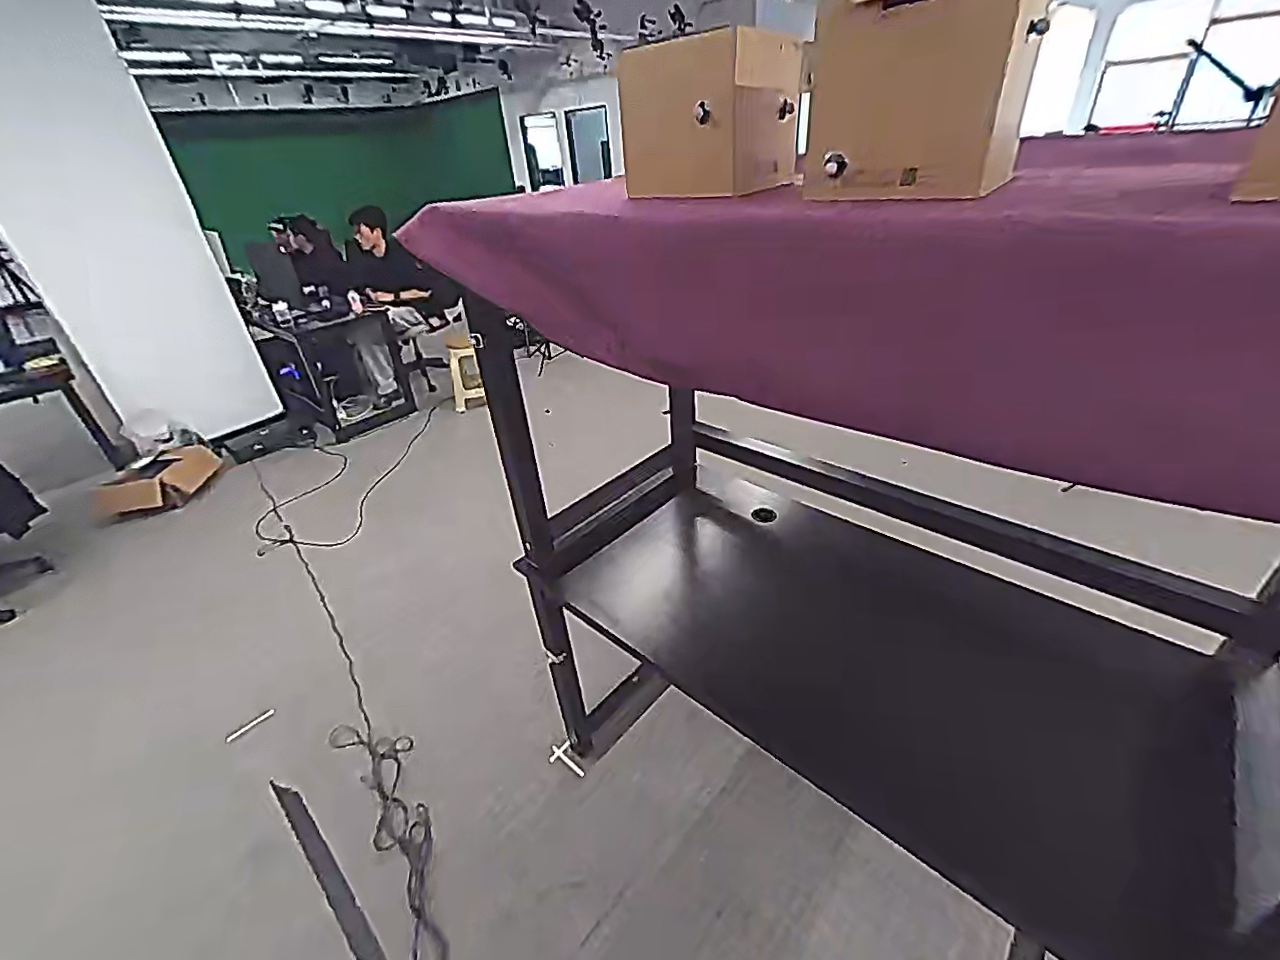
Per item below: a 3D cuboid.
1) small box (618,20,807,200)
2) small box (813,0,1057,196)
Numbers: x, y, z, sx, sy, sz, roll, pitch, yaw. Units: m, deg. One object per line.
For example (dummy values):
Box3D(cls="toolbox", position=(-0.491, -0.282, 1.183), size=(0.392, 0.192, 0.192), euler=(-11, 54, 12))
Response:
Box3D(cls="small box", position=(0.095, -0.469, 0.703), size=(0.179, 0.176, 0.168), euler=(20, 39, 35))
Box3D(cls="small box", position=(0.280, -0.377, 0.526), size=(0.168, 0.176, 0.179), euler=(19, 38, 34))
